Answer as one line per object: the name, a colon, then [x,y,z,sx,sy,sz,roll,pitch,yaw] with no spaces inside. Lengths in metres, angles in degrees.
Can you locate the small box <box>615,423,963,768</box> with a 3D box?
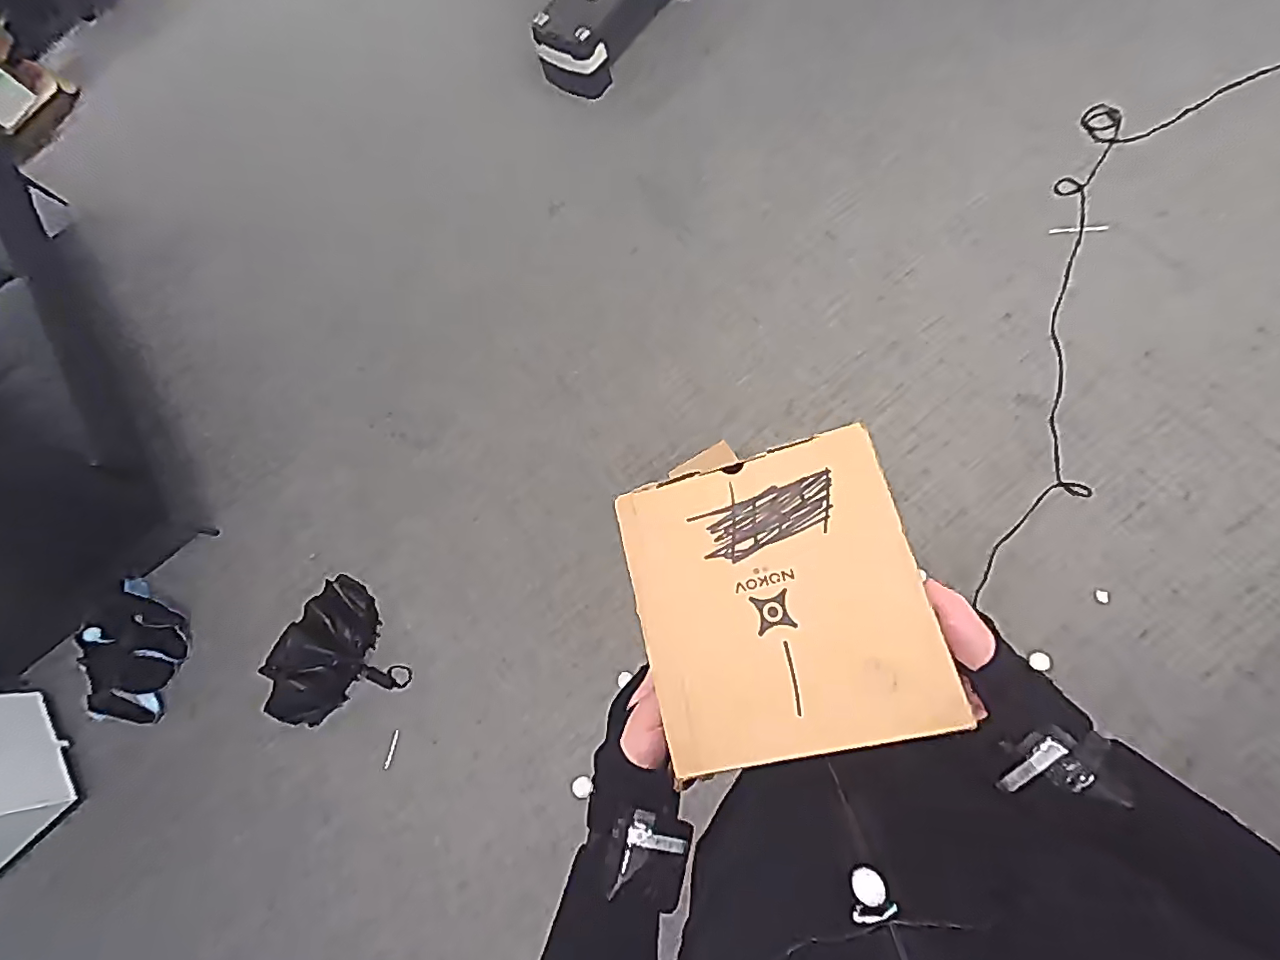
small box: [0.098,0.083,0.395,0.168,0.176,0.179,-17,74,14]

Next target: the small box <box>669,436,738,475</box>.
small box: [0.200,0.016,1.448,0.179,0.176,0.168,-31,71,1]
